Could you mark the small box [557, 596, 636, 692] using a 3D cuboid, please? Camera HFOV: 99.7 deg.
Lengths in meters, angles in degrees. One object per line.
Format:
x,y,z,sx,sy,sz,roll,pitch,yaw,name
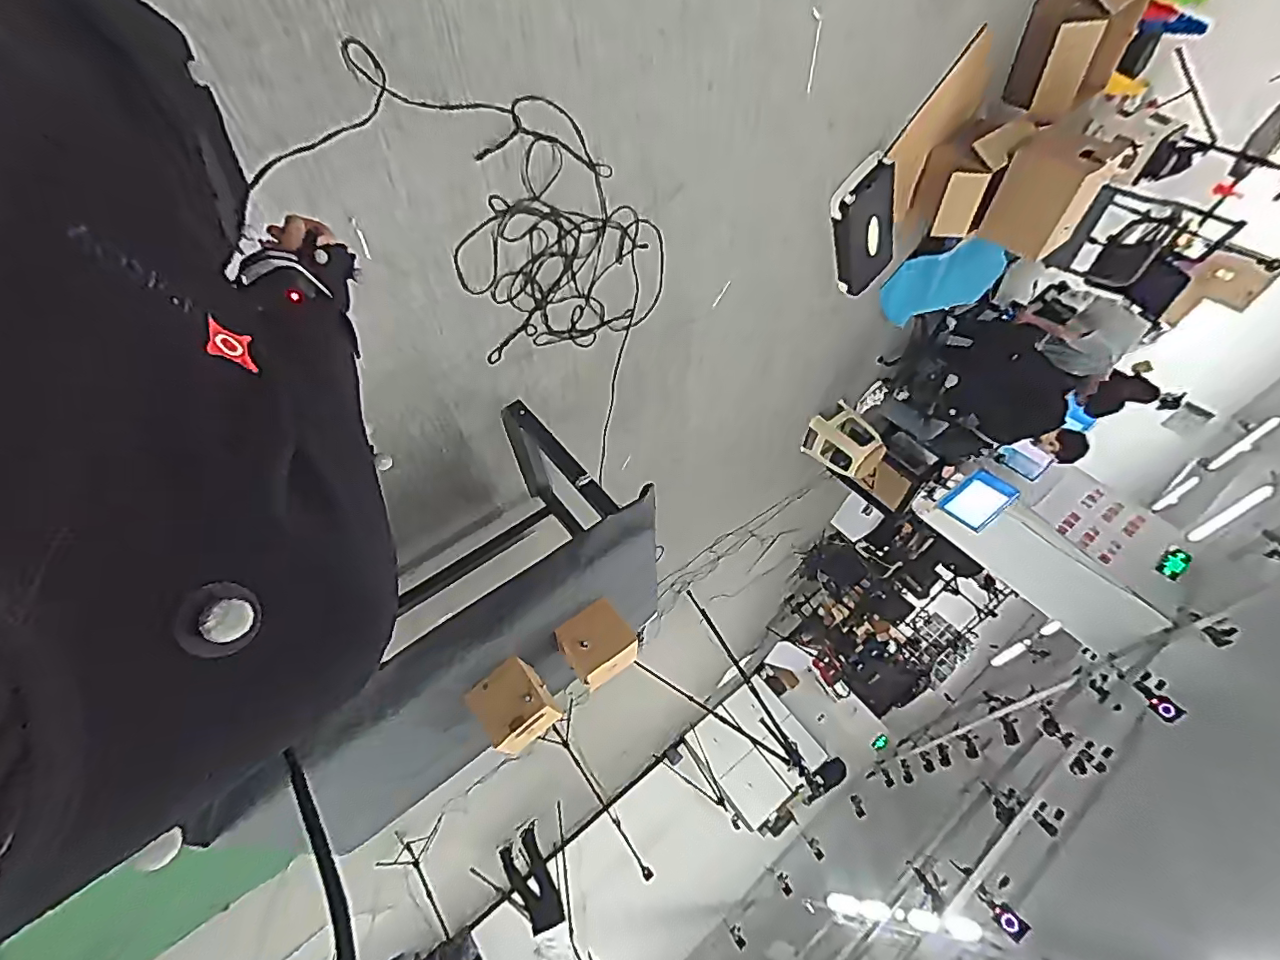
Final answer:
-0.132,0.477,1.583,0.179,0.176,0.168,-32,150,-25,small box
